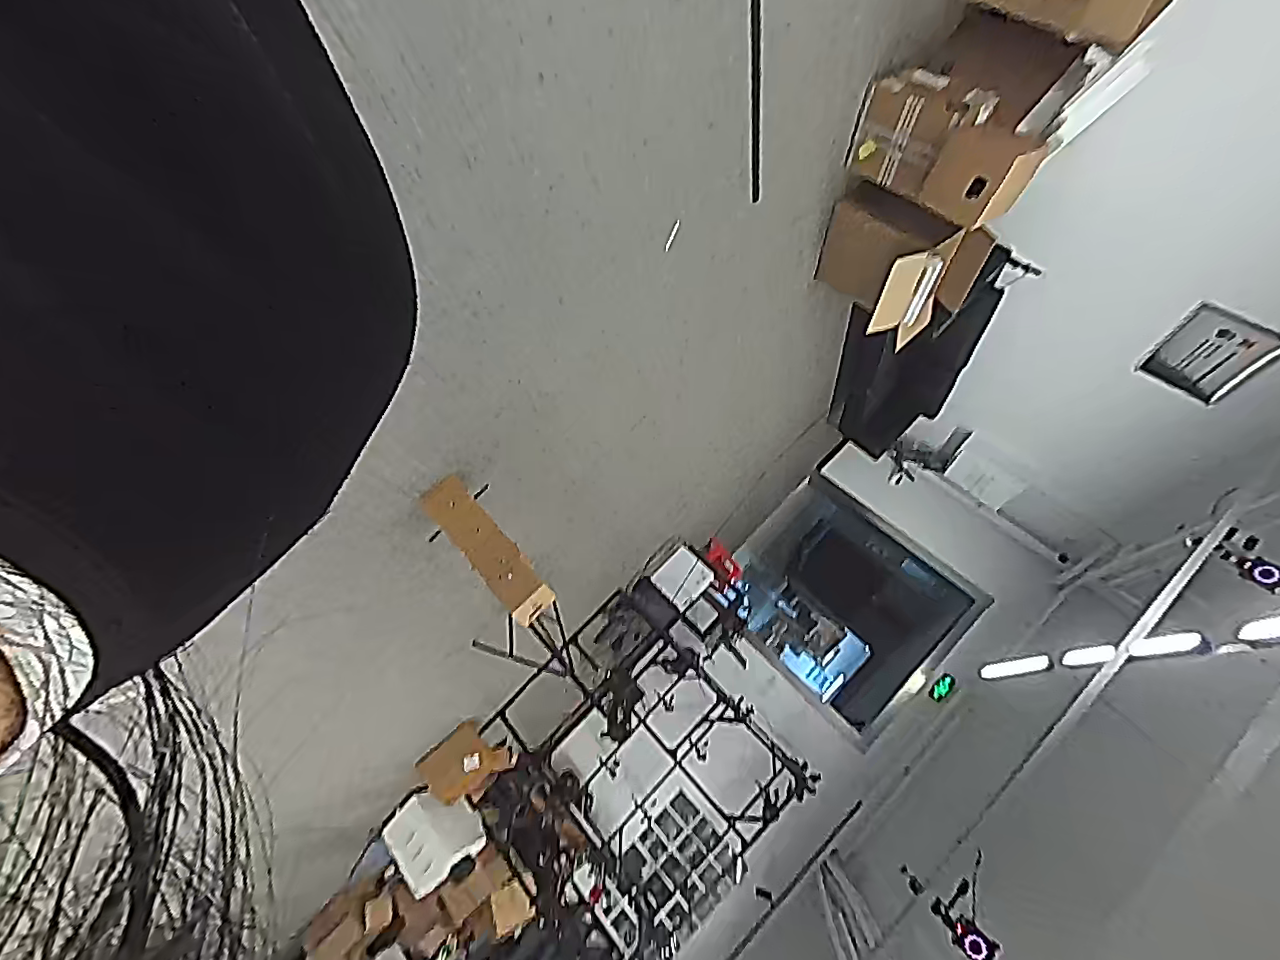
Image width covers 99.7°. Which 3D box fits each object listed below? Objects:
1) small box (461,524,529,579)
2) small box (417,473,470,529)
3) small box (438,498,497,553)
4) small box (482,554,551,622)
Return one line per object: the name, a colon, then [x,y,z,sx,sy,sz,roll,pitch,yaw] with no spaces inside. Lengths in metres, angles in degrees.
small box: [-0.576,0.307,2.146,0.179,0.176,0.168,-42,154,-15]
small box: [-0.805,0.105,2.261,0.179,0.176,0.168,-42,155,-15]
small box: [-0.689,0.207,2.203,0.179,0.176,0.168,-41,154,-18]
small box: [-0.472,0.413,2.074,0.168,0.176,0.179,-43,154,-15]
